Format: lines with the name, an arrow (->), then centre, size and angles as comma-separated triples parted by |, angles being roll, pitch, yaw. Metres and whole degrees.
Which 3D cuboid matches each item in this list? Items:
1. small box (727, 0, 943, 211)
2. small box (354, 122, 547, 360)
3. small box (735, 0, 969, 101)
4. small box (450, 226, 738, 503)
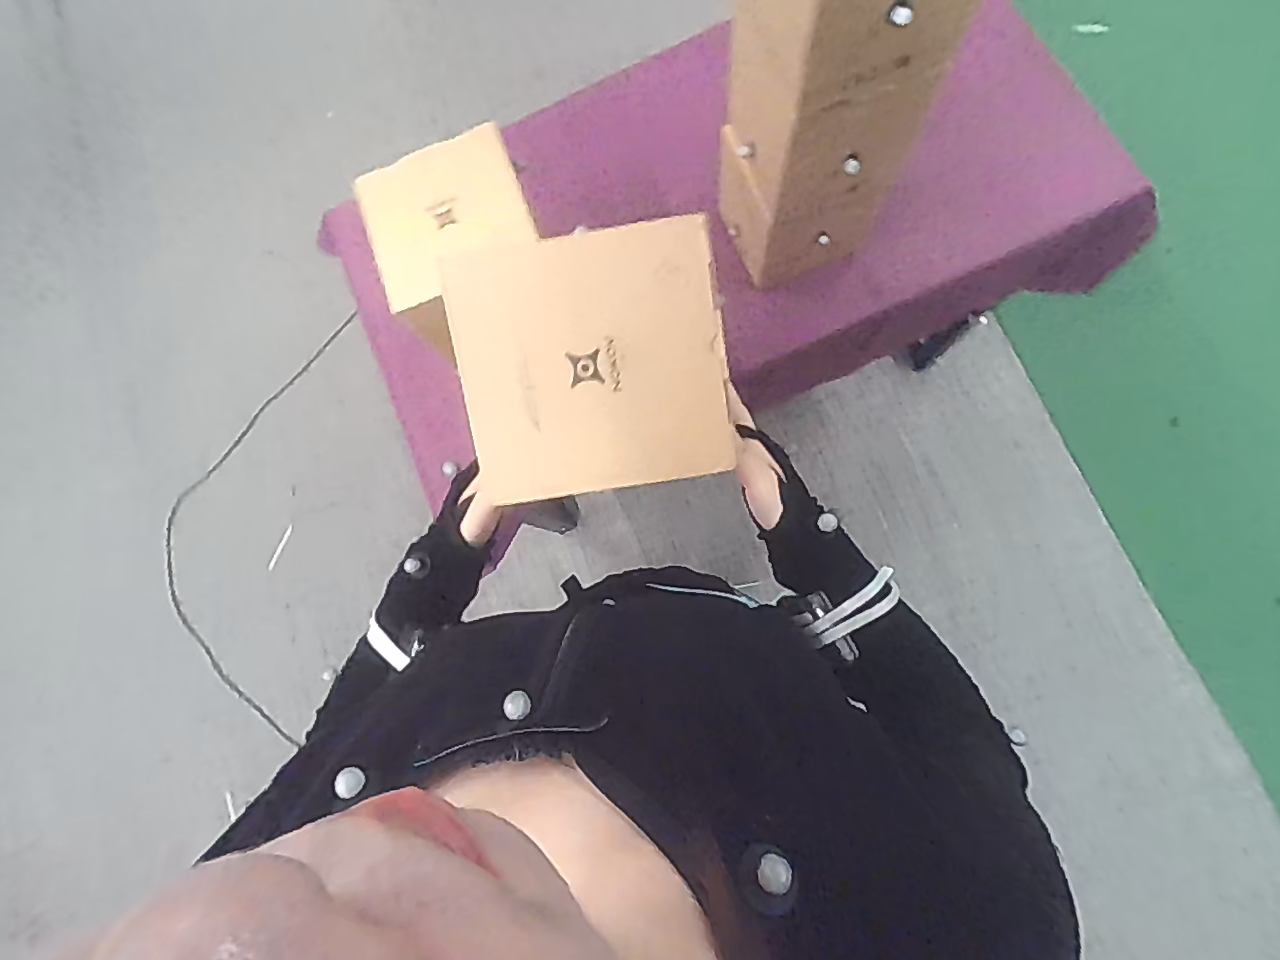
small box -> 0.207, -0.447, 0.629 | 0.168, 0.176, 0.179 | -18, 79, 3
small box -> -0.195, -0.262, 0.641 | 0.168, 0.176, 0.179 | -22, 77, 2
small box -> 0.188, -0.474, 0.467 | 0.168, 0.176, 0.179 | -20, 78, 3
small box -> -0.027, -0.087, 0.438 | 0.179, 0.176, 0.168 | -7, 99, 3
